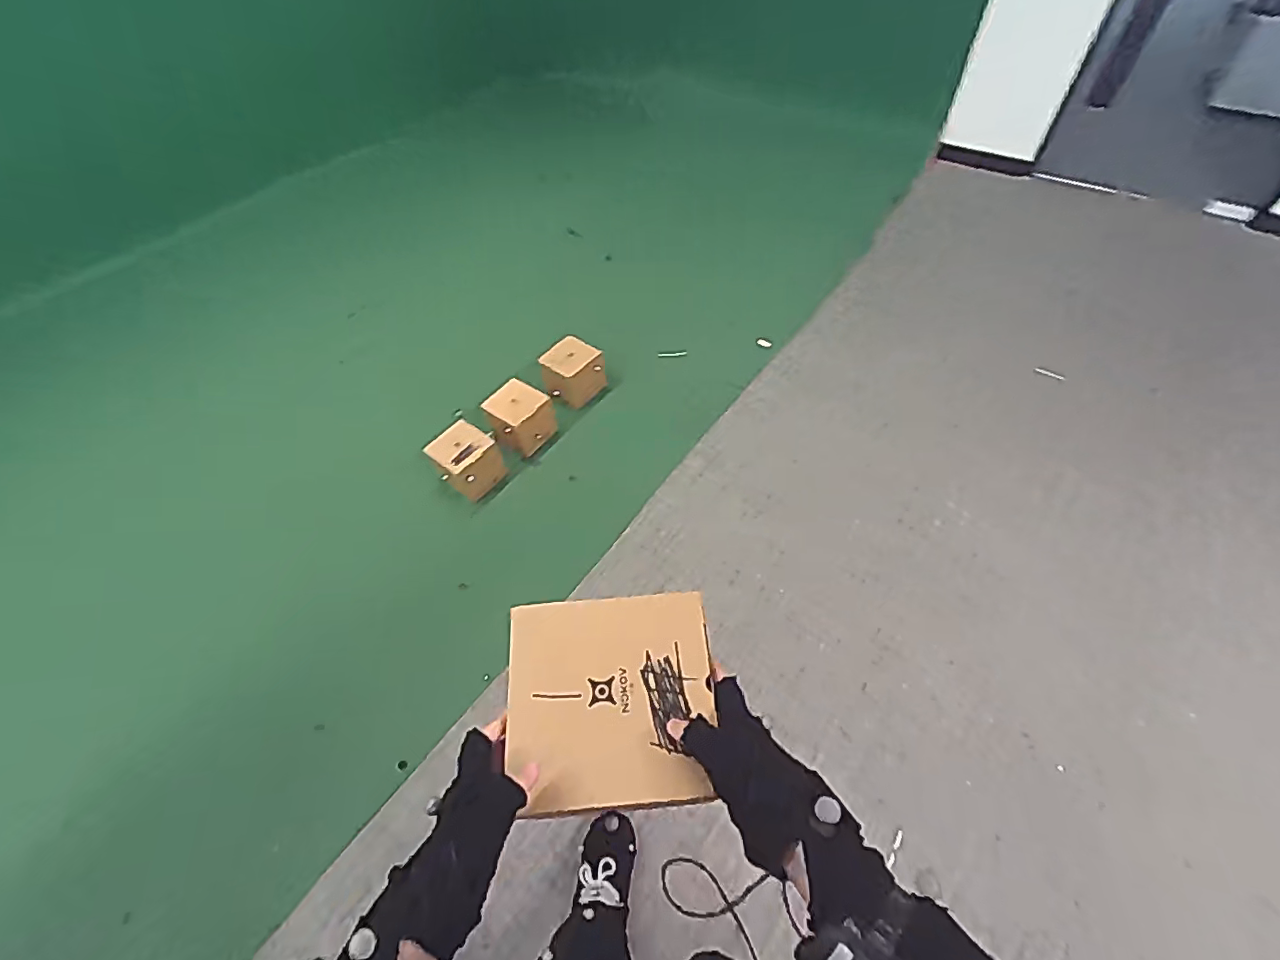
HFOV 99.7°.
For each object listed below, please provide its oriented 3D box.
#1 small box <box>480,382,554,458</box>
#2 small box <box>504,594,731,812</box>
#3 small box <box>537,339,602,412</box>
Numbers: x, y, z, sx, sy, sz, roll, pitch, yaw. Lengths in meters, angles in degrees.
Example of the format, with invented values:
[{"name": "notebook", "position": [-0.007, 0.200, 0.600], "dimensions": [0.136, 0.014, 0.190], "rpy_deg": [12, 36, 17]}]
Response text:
[{"name": "small box", "position": [-0.428, -0.208, 1.903], "dimensions": [0.179, 0.176, 0.168], "rpy_deg": [30, 61, 22]}, {"name": "small box", "position": [-0.022, 0.219, 0.521], "dimensions": [0.179, 0.176, 0.168], "rpy_deg": [-3, 57, -2]}, {"name": "small box", "position": [-0.257, -0.388, 2.022], "dimensions": [0.168, 0.176, 0.179], "rpy_deg": [32, 62, 24]}]
